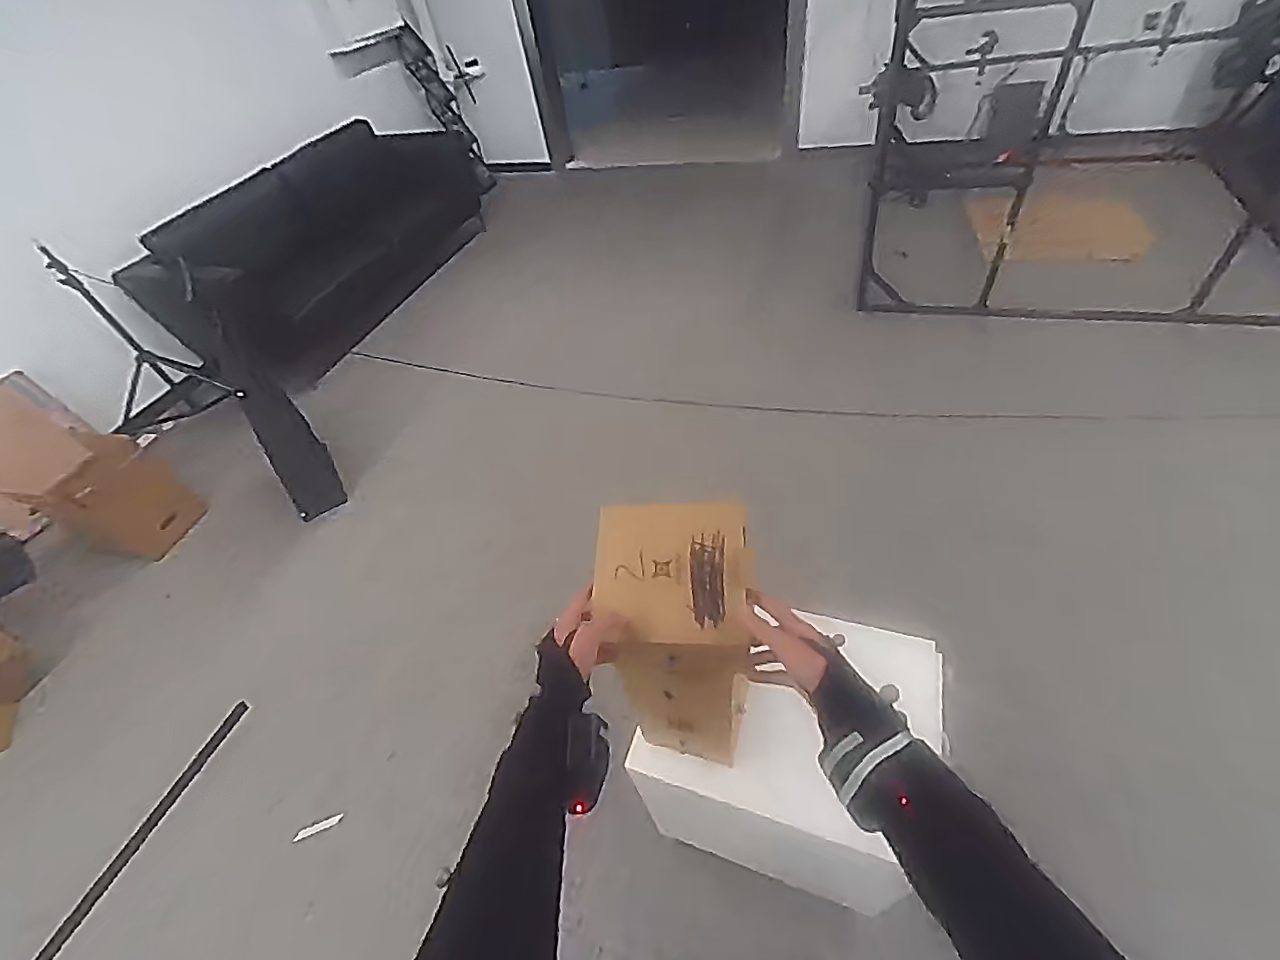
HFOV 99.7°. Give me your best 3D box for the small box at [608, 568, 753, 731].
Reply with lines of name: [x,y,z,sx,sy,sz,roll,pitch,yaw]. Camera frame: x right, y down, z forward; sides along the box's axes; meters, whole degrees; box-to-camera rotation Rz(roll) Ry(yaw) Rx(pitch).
small box: [0.073,0.265,0.837,0.179,0.176,0.168,8,49,19]

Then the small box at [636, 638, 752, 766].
small box: [0.100,0.372,0.959,0.168,0.176,0.179,8,50,19]
